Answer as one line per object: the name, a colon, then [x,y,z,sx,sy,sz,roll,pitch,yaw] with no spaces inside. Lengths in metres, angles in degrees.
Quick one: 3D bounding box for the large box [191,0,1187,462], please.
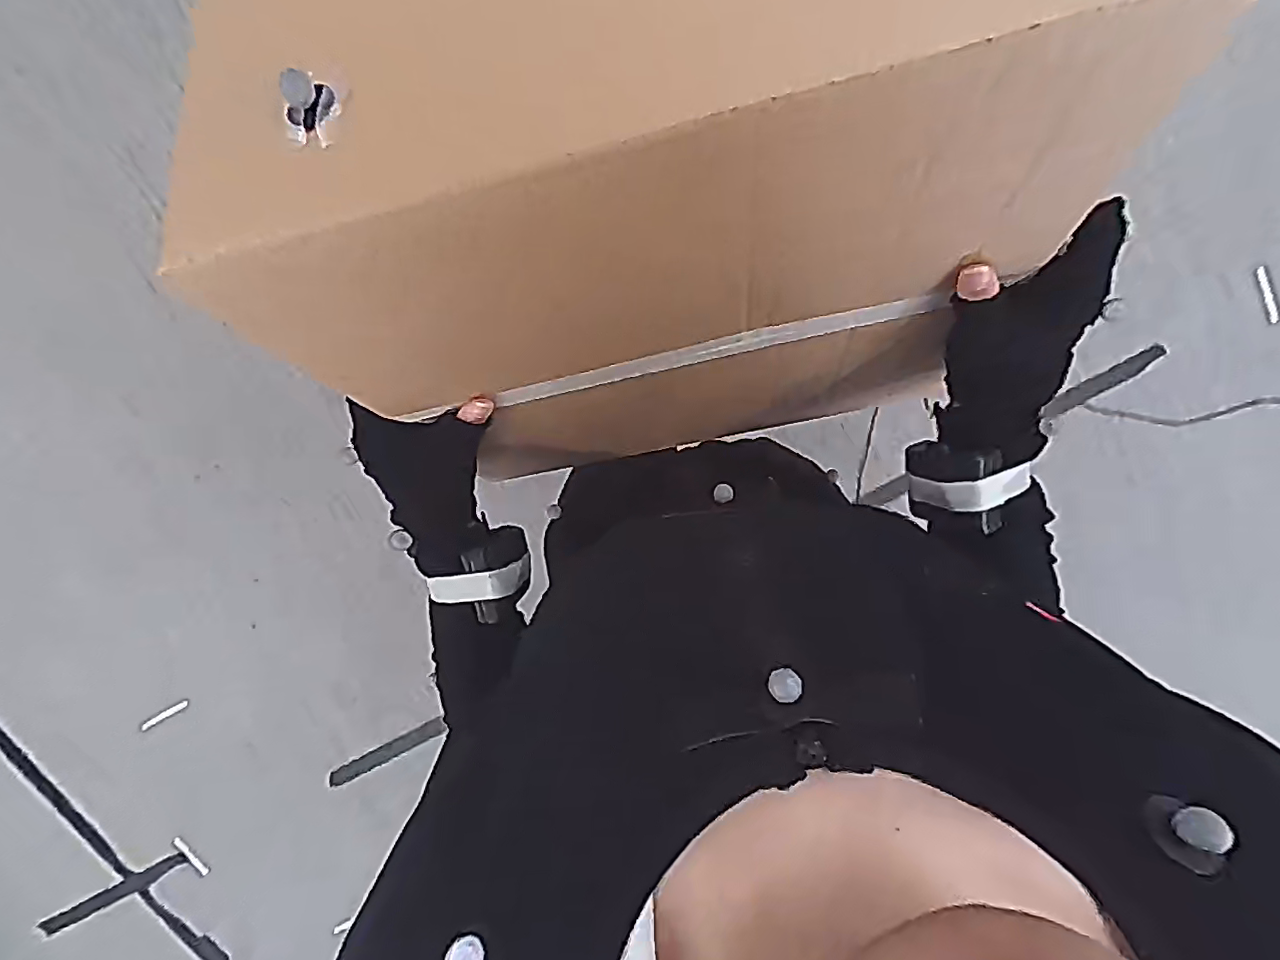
large box: [0.004,-0.238,0.387,0.408,0.320,0.320,-11,73,7]
